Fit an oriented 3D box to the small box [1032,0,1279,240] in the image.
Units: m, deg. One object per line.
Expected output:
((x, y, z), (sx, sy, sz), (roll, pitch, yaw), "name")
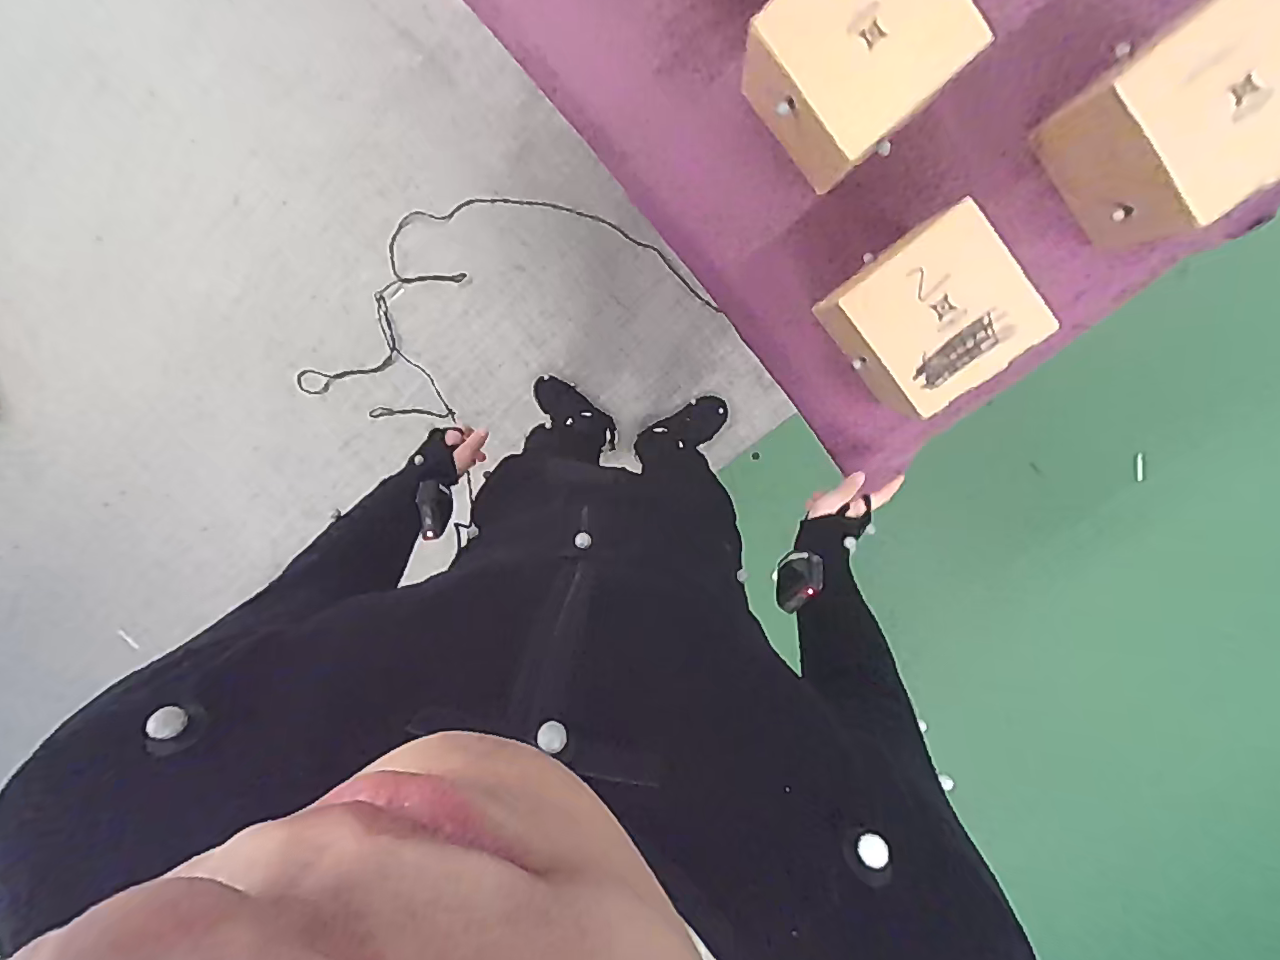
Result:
((0.585, -0.385, 0.587), (0.168, 0.176, 0.179), (-37, 98, 17), "small box")

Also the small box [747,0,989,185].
((0.239, -0.467, 0.612), (0.168, 0.176, 0.179), (-38, 97, 16), "small box")
